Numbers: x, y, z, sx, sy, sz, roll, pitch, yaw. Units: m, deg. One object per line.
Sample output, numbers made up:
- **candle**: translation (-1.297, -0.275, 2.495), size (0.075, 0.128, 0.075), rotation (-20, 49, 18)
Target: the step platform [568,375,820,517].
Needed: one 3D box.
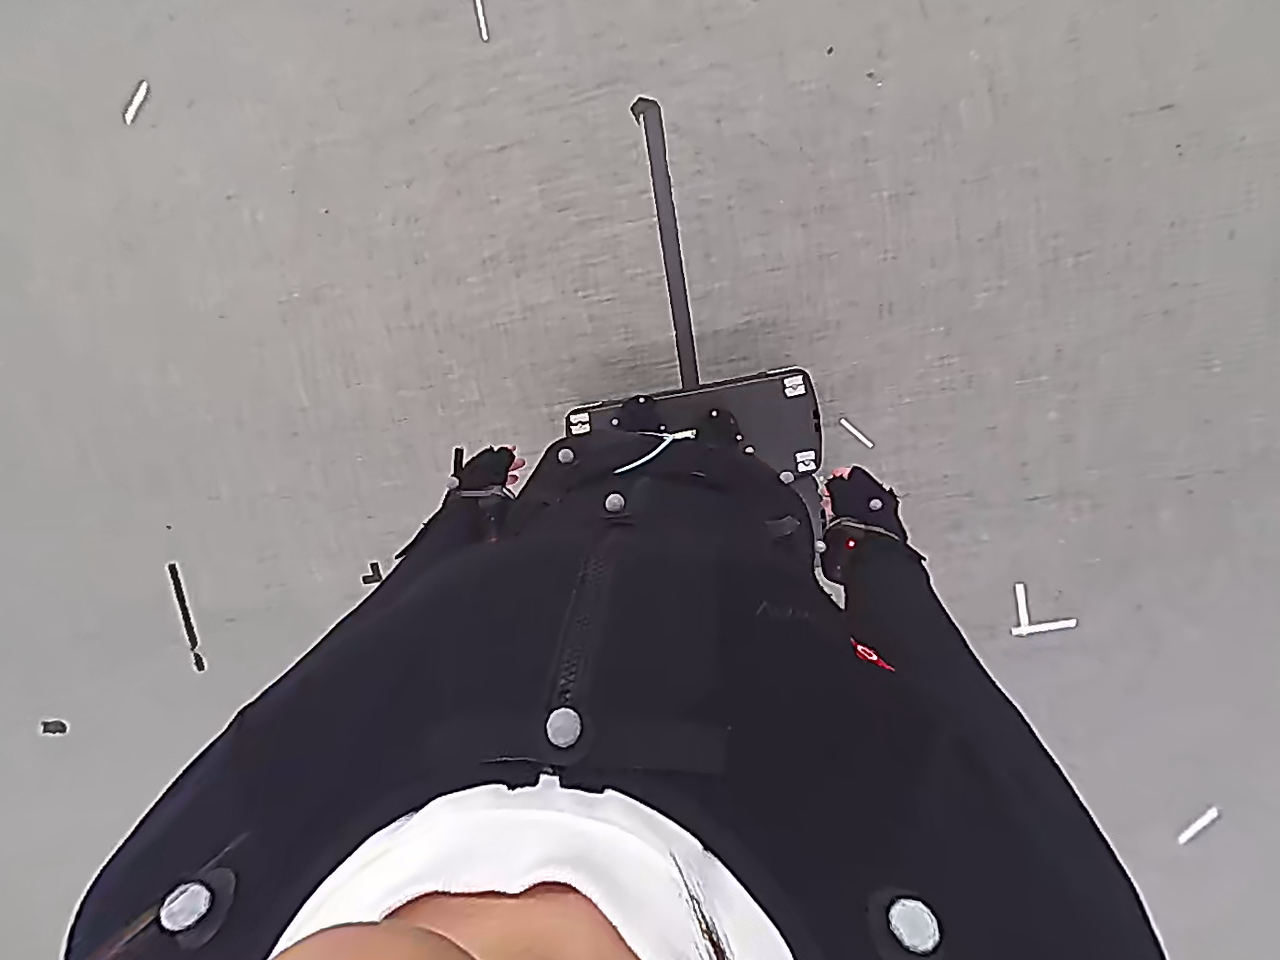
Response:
- **step platform**: translation (0.142, -0.092, 1.512), size (0.684, 0.204, 0.286), rotation (-10, 99, 7)
